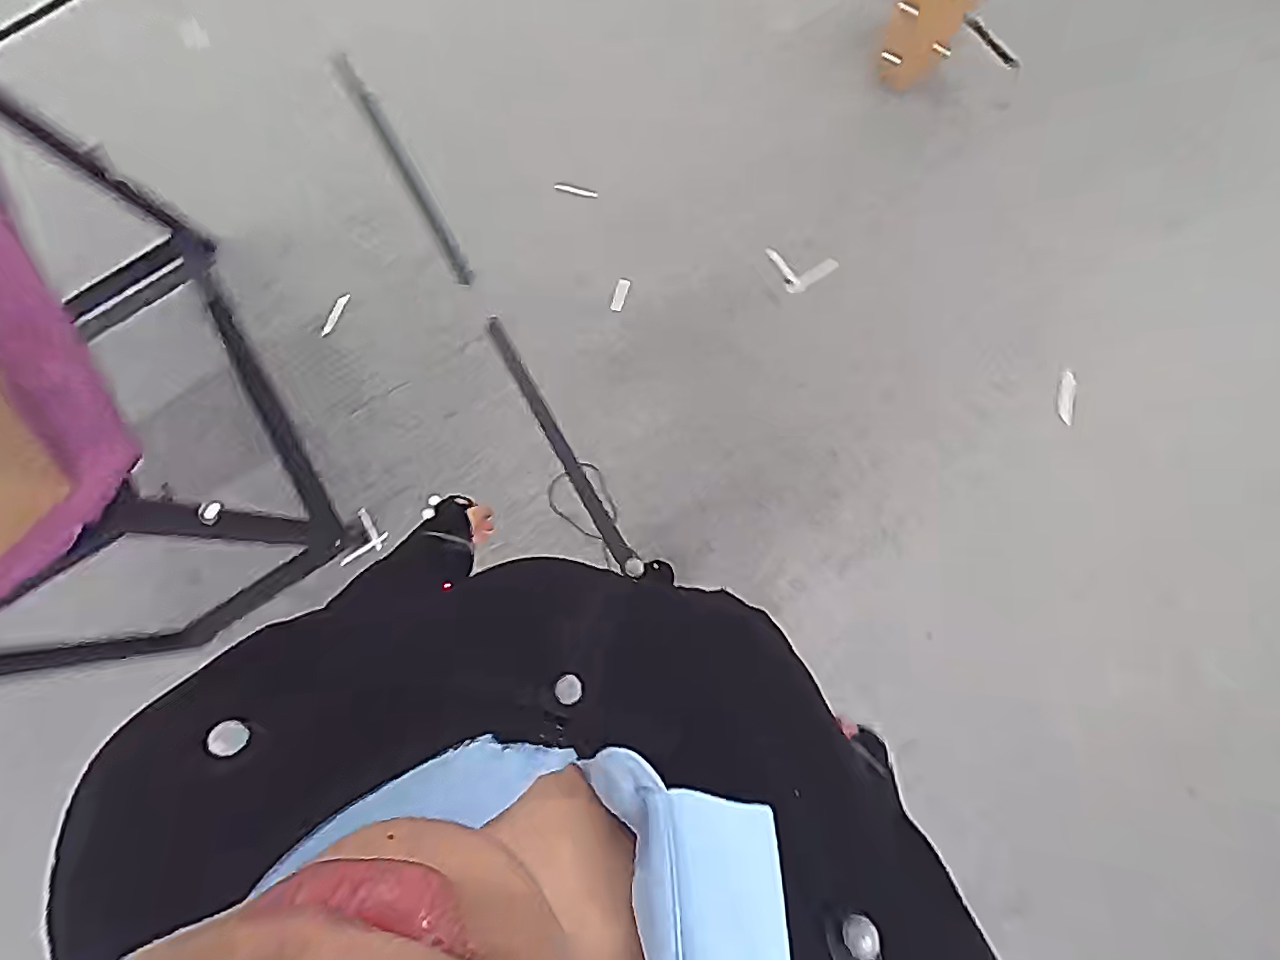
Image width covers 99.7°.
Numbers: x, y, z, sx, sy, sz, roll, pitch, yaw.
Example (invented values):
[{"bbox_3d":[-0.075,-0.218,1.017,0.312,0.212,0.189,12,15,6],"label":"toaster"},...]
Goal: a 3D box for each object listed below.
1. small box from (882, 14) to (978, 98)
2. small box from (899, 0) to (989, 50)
[{"bbox_3d":[0.871,-1.329,1.654,0.179,0.176,0.168,-34,80,-3],"label":"small box"},{"bbox_3d":[0.861,-1.358,1.494,0.179,0.176,0.168,-33,79,-2],"label":"small box"}]
